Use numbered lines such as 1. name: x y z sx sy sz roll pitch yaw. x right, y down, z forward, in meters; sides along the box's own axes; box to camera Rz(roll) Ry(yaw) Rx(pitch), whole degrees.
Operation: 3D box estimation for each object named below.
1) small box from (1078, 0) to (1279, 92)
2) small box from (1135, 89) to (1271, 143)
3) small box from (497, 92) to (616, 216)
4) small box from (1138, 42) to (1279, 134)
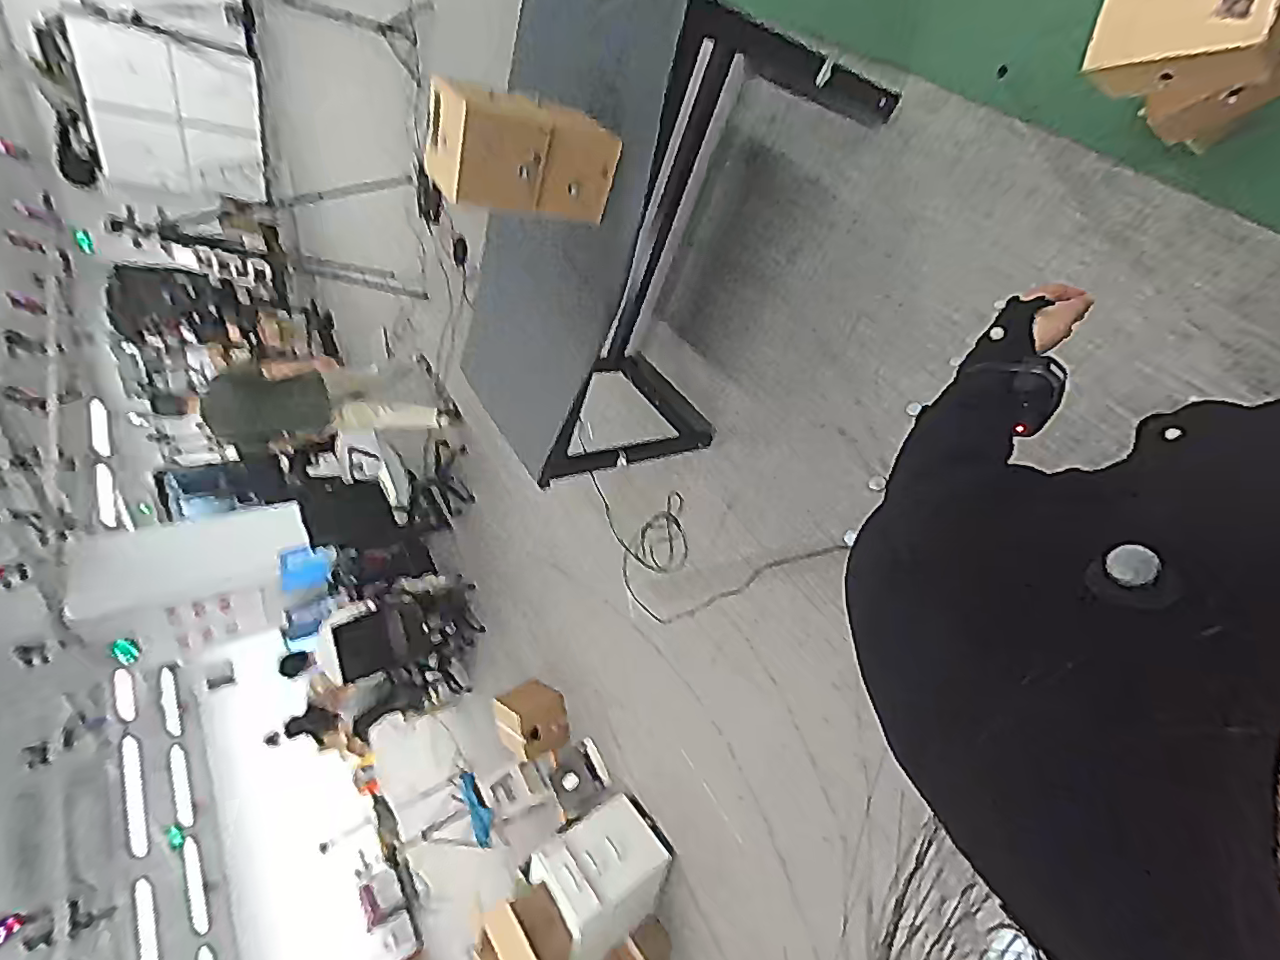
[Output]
1. small box: 0.714 -0.617 0.687 0.179 0.176 0.168 30 124 43
2. small box: 0.953 -0.698 0.894 0.179 0.176 0.168 -45 66 47
3. small box: -0.174 -0.668 1.123 0.179 0.176 0.168 52 136 30
4. small box: 0.845 -0.642 0.783 0.179 0.176 0.168 -14 91 51
